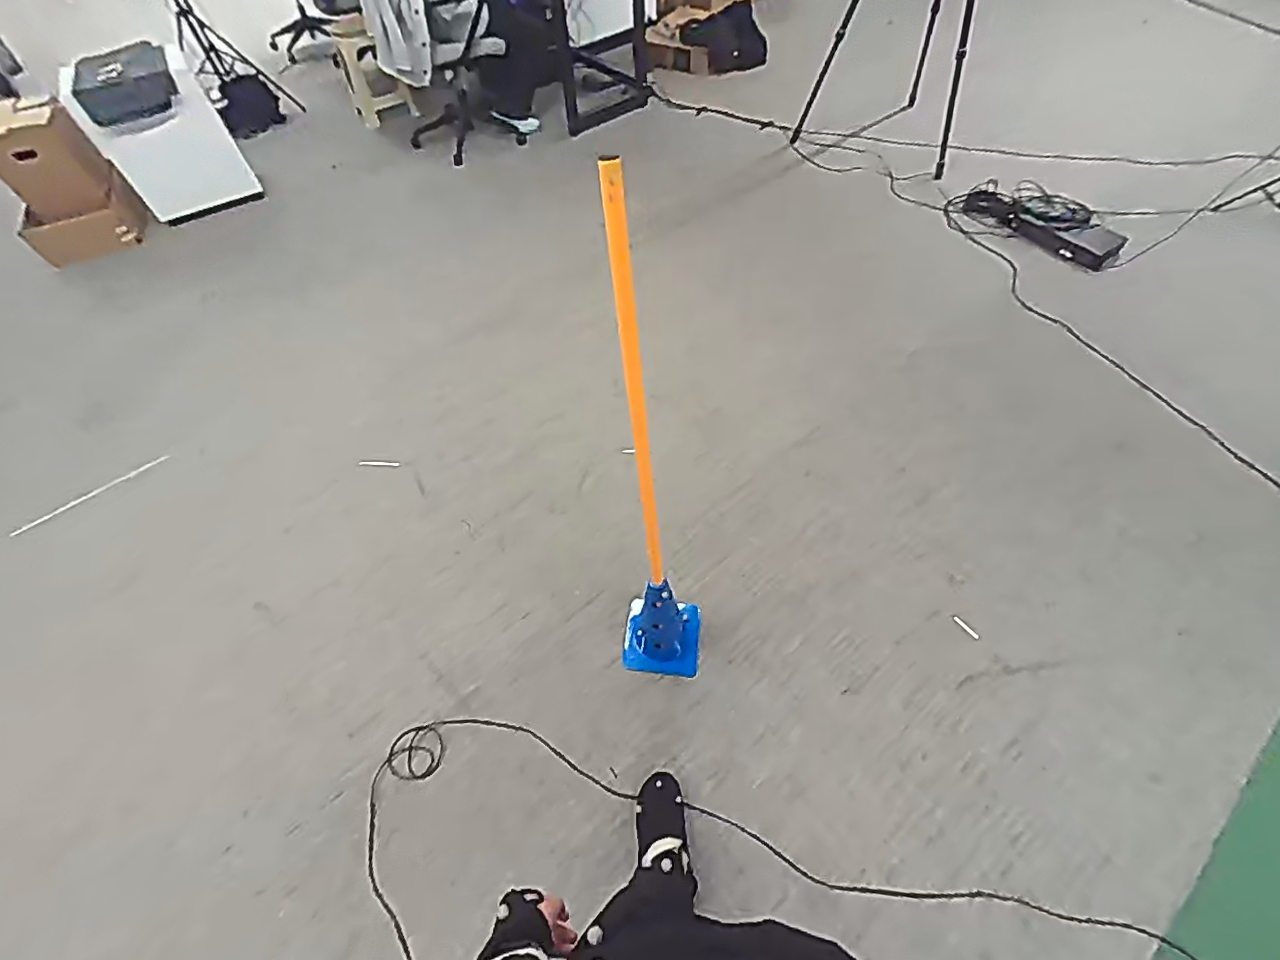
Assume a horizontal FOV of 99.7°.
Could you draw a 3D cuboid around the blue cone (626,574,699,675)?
[{"bbox_3d":[0.050,0.327,1.318,0.192,0.380,0.193,3,54,7],"label":"blue cone"}]
